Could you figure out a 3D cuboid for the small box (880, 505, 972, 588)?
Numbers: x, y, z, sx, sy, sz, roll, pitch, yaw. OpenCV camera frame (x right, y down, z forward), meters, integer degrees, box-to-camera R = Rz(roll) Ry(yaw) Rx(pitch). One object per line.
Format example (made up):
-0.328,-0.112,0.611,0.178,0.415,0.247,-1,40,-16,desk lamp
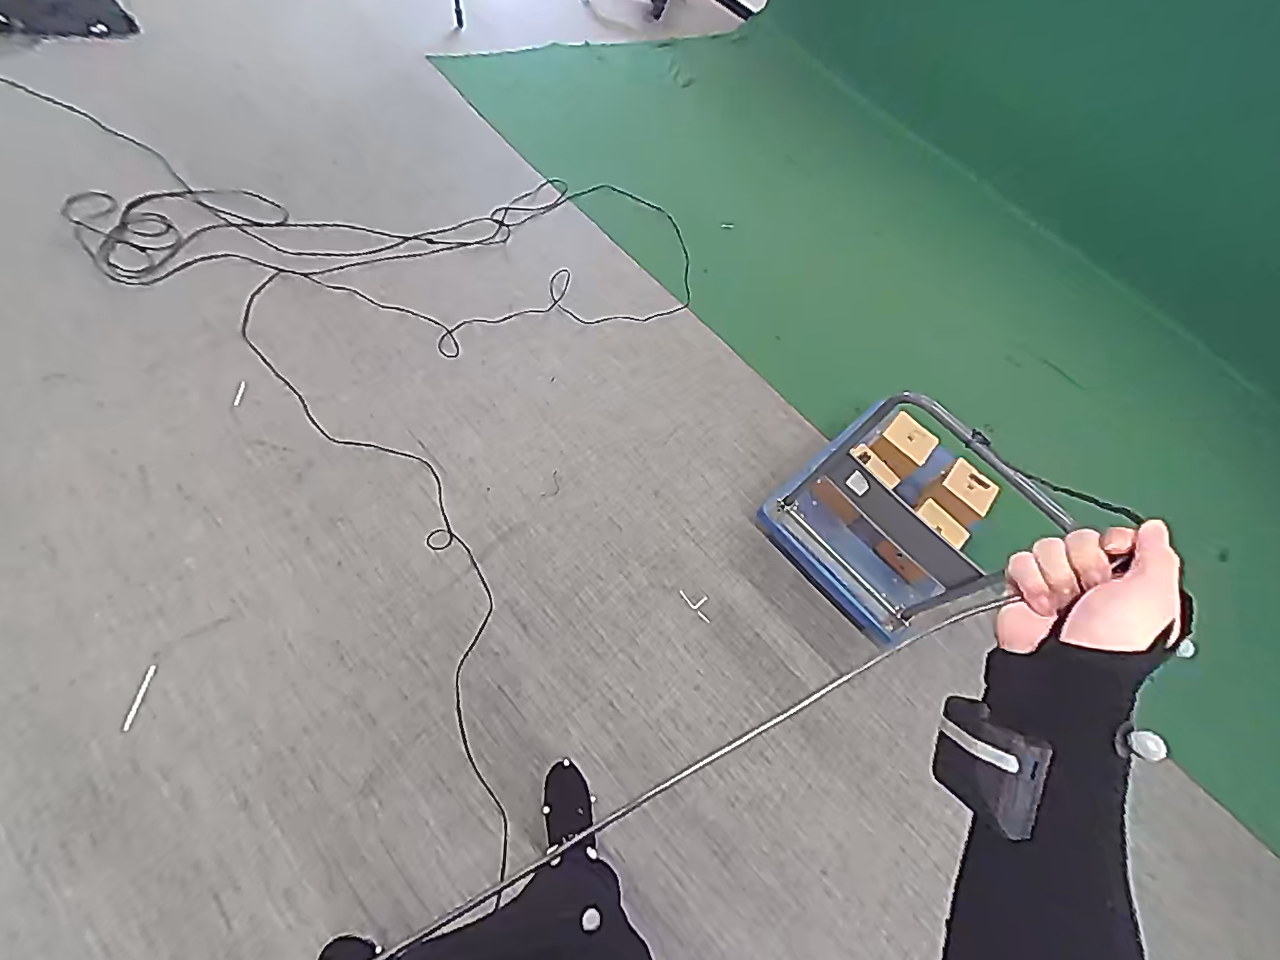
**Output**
0.913,0.216,1.740,0.179,0.176,0.168,-34,73,-30,small box

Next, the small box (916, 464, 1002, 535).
1.102,0.082,1.880,0.168,0.176,0.179,43,58,12,small box

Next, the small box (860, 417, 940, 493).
0.921,-0.084,1.930,0.168,0.176,0.179,43,57,11,small box
